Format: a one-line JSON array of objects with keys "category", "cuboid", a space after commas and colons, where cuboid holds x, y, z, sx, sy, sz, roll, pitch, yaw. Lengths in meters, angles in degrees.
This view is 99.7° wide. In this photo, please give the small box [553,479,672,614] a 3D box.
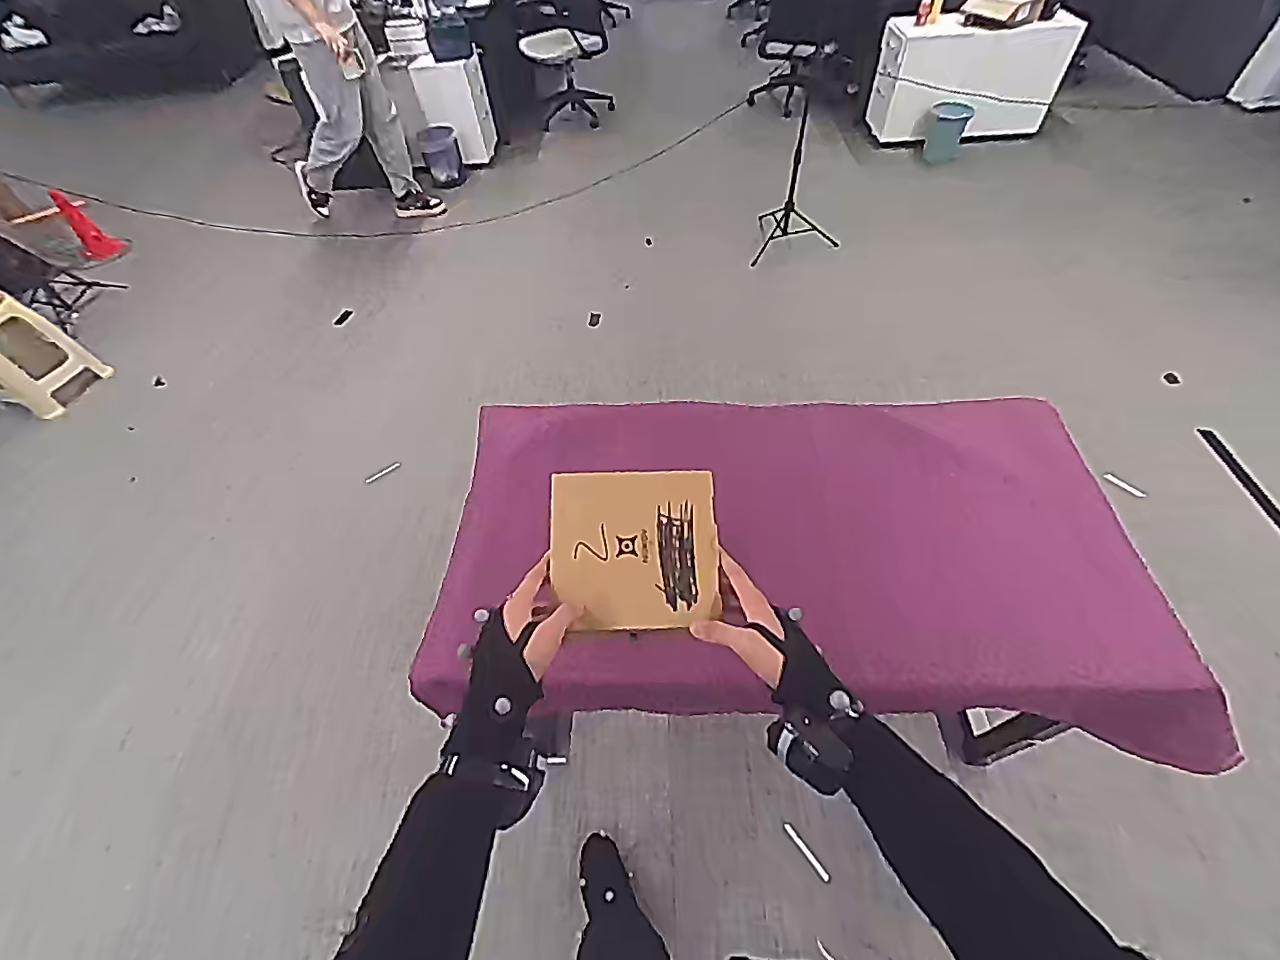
[{"category": "small box", "cuboid": [-0.036, 0.114, 0.908, 0.179, 0.176, 0.168, 1, 52, 4]}]
